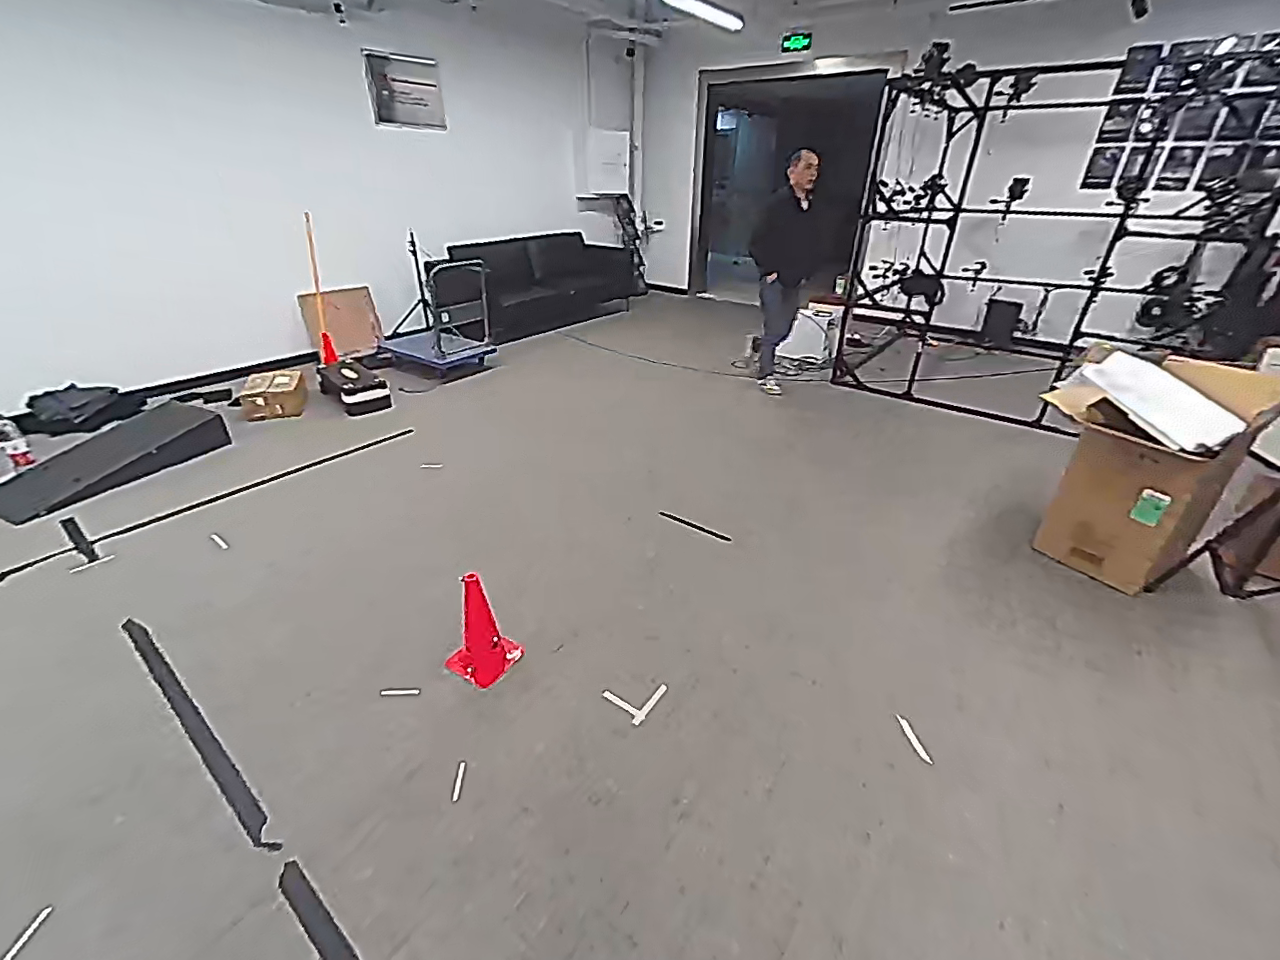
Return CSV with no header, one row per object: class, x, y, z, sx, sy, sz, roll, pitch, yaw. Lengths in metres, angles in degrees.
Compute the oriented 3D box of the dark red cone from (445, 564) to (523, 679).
dark red cone,-0.522,0.432,1.744,0.202,0.394,0.201,16,34,26
